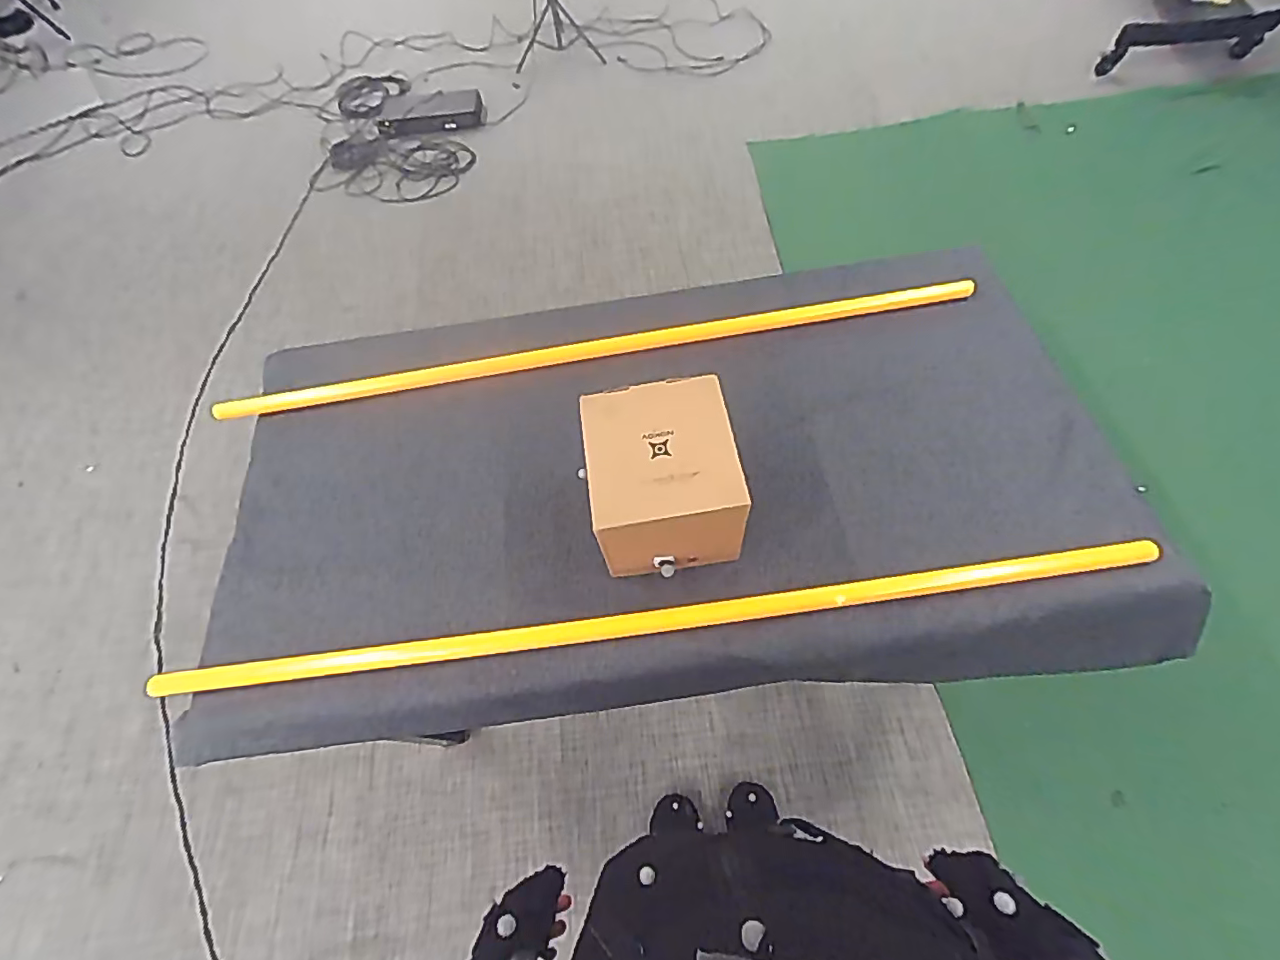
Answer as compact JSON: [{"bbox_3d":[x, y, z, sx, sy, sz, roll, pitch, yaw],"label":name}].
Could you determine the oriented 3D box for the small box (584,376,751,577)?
[{"bbox_3d":[0.031,0.002,0.668,0.168,0.176,0.179,-10,62,1],"label":"small box"}]
